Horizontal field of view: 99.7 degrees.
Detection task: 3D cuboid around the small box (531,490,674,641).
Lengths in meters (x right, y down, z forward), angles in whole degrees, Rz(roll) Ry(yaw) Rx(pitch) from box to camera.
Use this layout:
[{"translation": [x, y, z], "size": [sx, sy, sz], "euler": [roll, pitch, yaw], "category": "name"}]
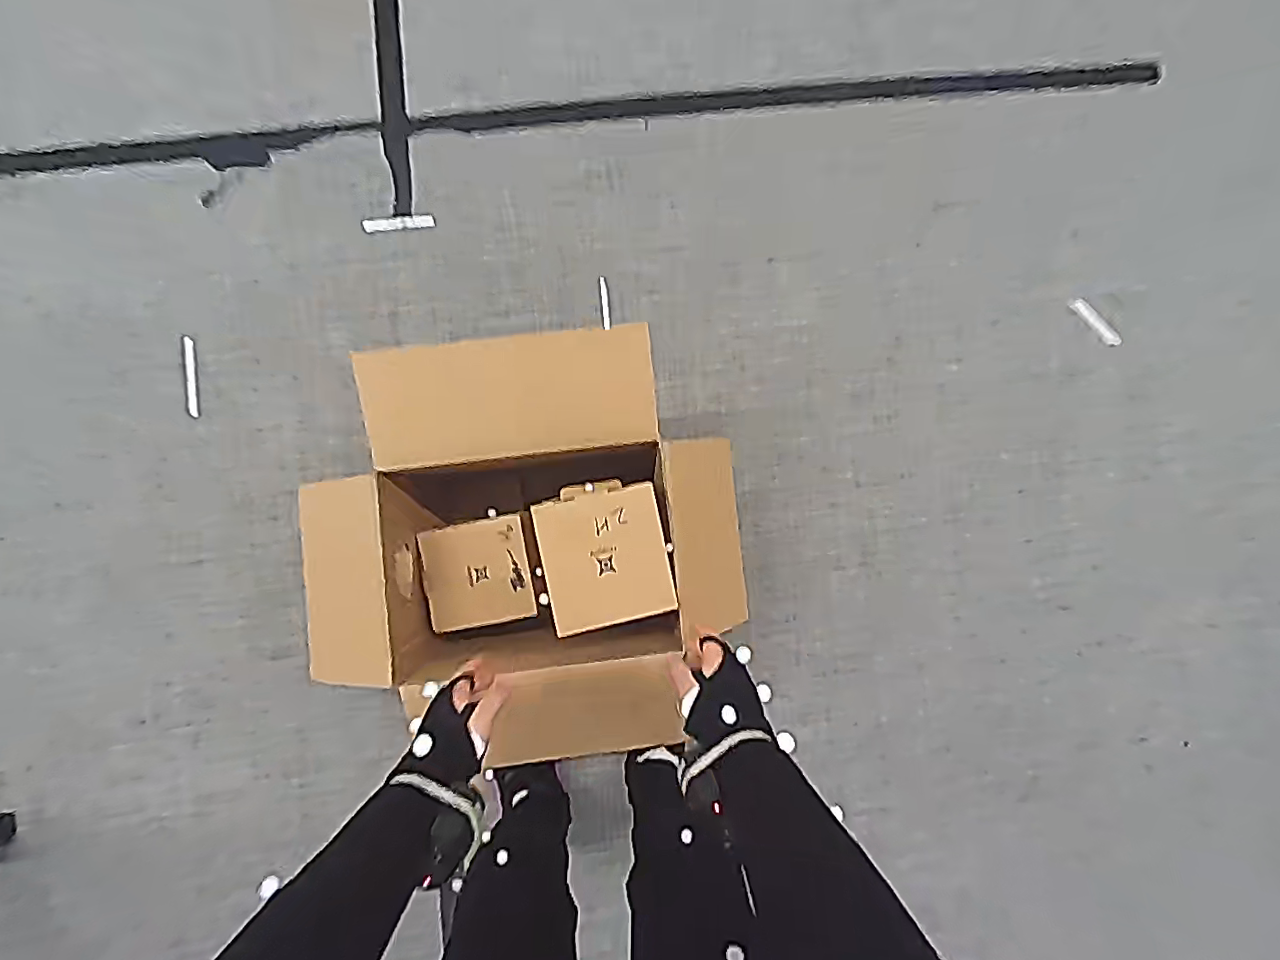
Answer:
[{"translation": [-0.056, 0.114, 0.795], "size": [0.168, 0.176, 0.179], "euler": [-12, 89, -7], "category": "small box"}]
